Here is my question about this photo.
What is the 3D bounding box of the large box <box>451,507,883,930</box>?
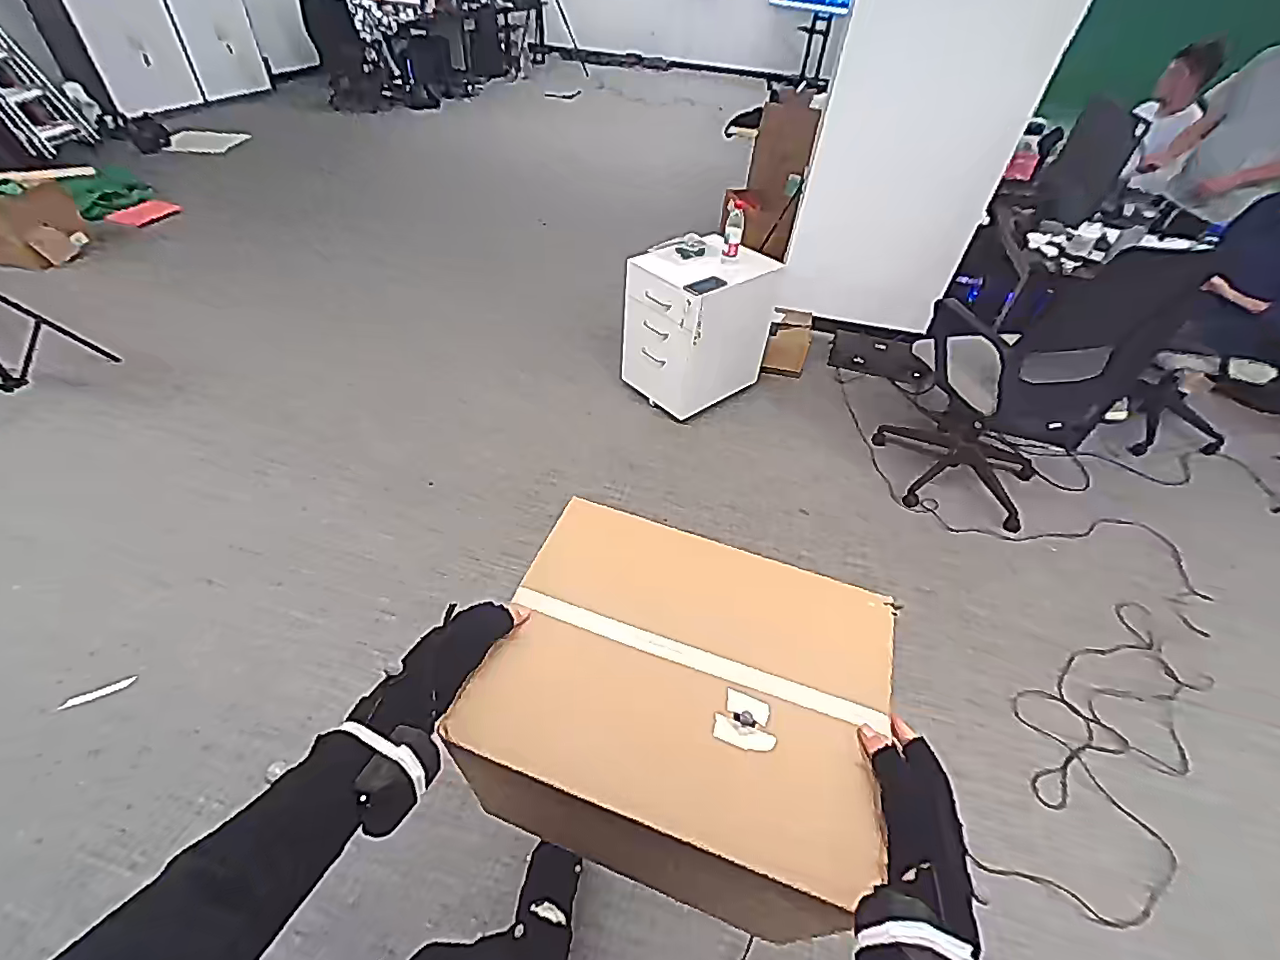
[{"bbox_3d":[0.040,0.292,0.680,0.408,0.320,0.320,18,49,9],"label":"large box"}]
